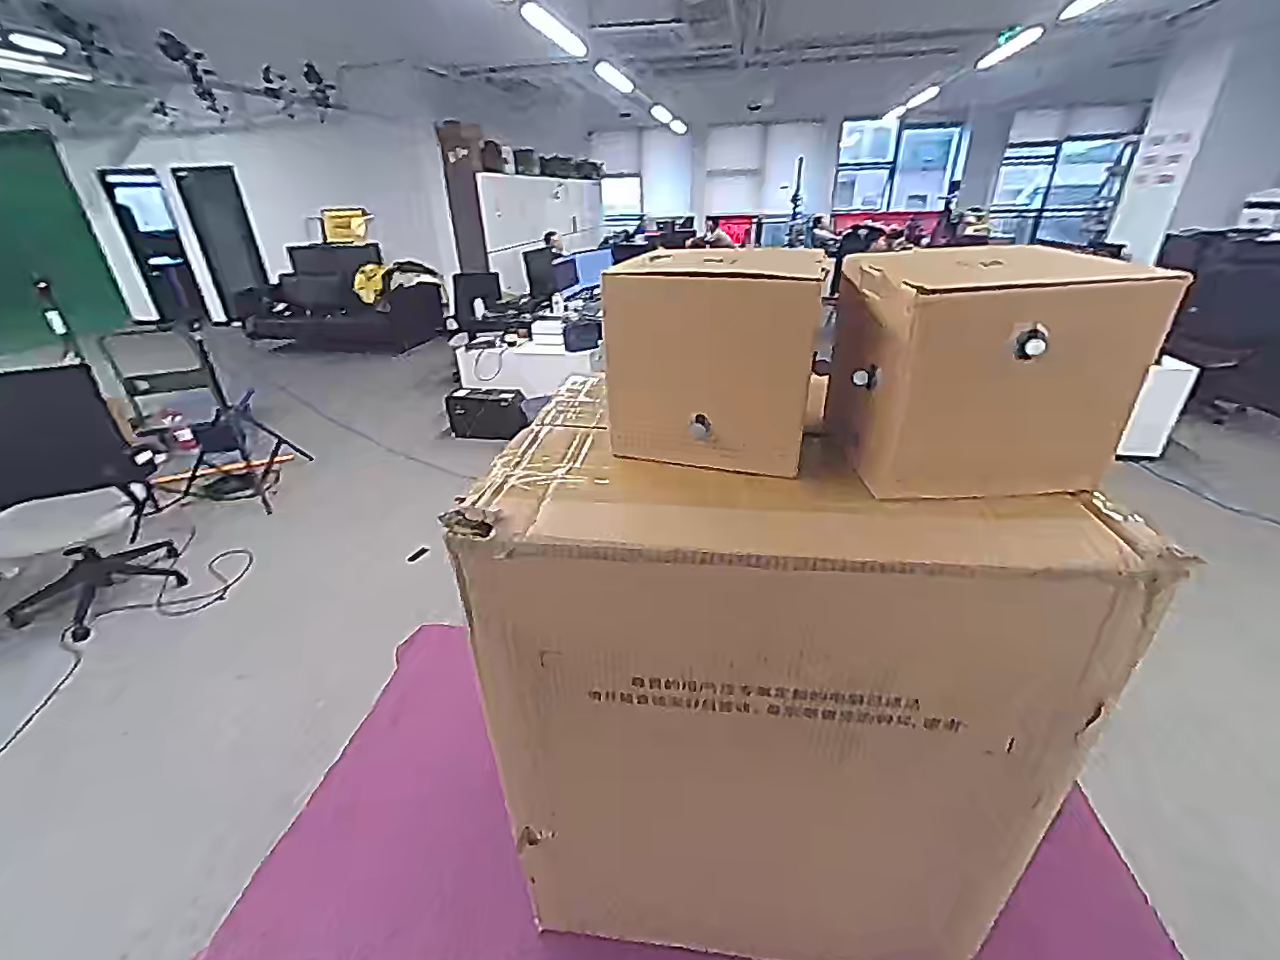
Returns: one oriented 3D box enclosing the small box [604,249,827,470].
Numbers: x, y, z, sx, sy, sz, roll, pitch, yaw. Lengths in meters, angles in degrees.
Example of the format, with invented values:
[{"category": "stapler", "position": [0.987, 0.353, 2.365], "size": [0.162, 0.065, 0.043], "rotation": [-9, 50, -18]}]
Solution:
[{"category": "small box", "position": [0.076, -0.123, 0.525], "size": [0.179, 0.176, 0.168], "rotation": [8, 29, 15]}]
